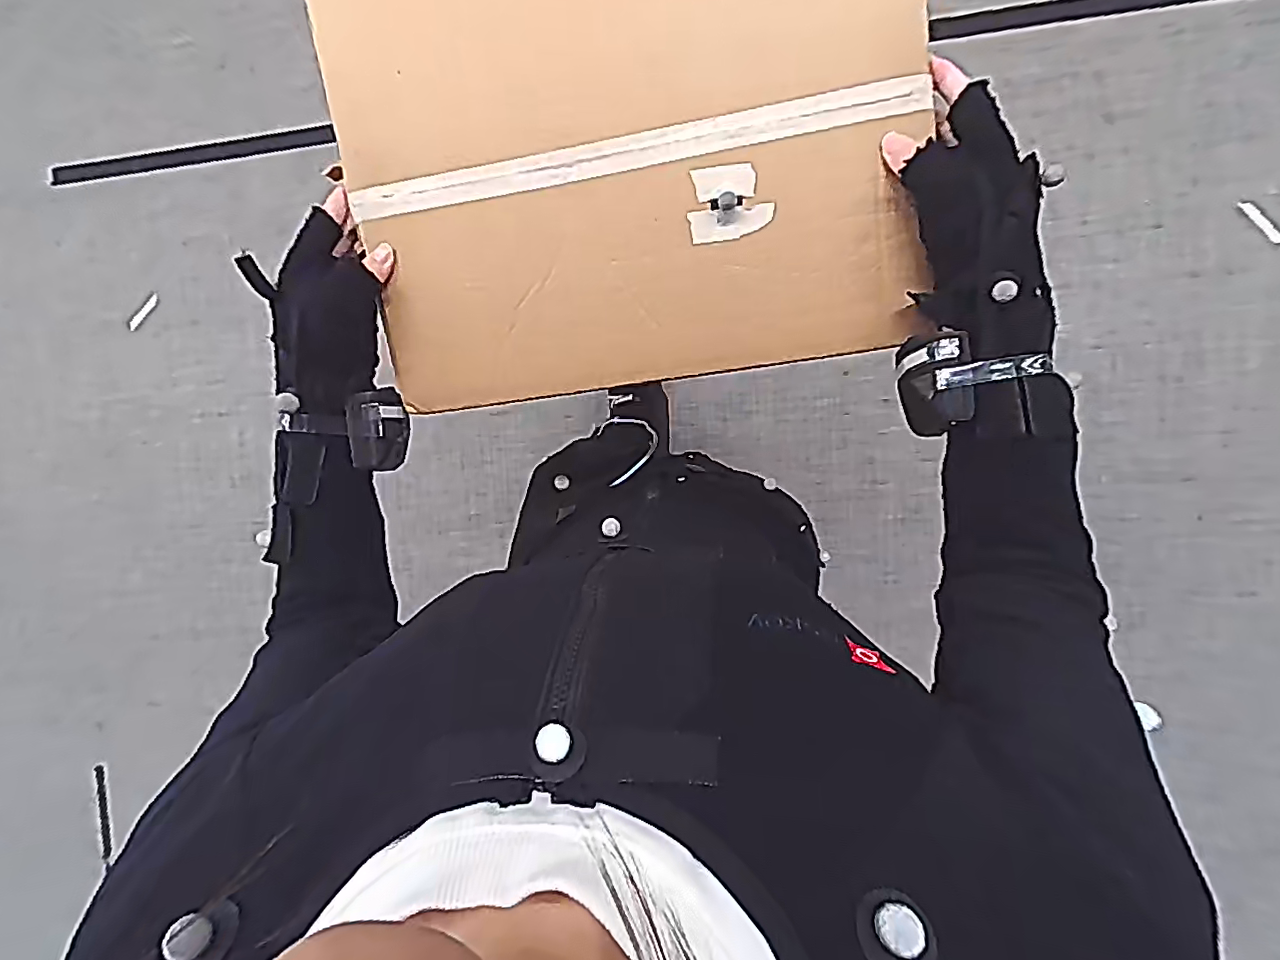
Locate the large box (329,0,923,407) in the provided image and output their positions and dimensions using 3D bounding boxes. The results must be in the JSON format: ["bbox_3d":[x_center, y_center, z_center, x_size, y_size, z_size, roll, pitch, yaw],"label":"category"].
[{"bbox_3d":[0.003,-0.266,0.538,0.408,0.320,0.320,-7,103,7],"label":"large box"}]
